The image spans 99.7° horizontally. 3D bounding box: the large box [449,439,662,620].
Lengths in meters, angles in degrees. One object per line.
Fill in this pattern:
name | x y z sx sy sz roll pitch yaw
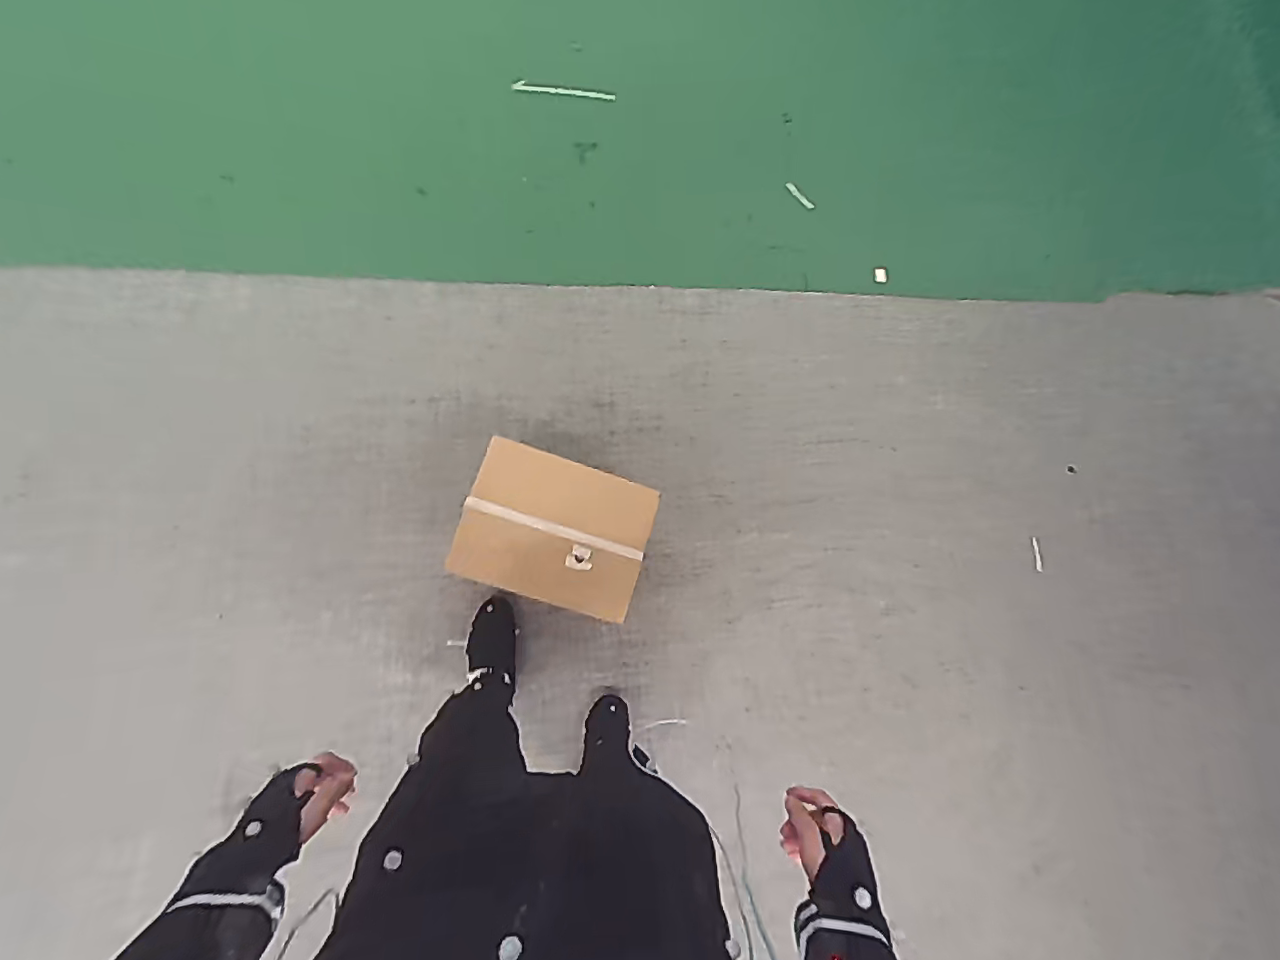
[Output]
large box | -0.207 0.134 1.340 0.408 0.320 0.320 19 78 -7
